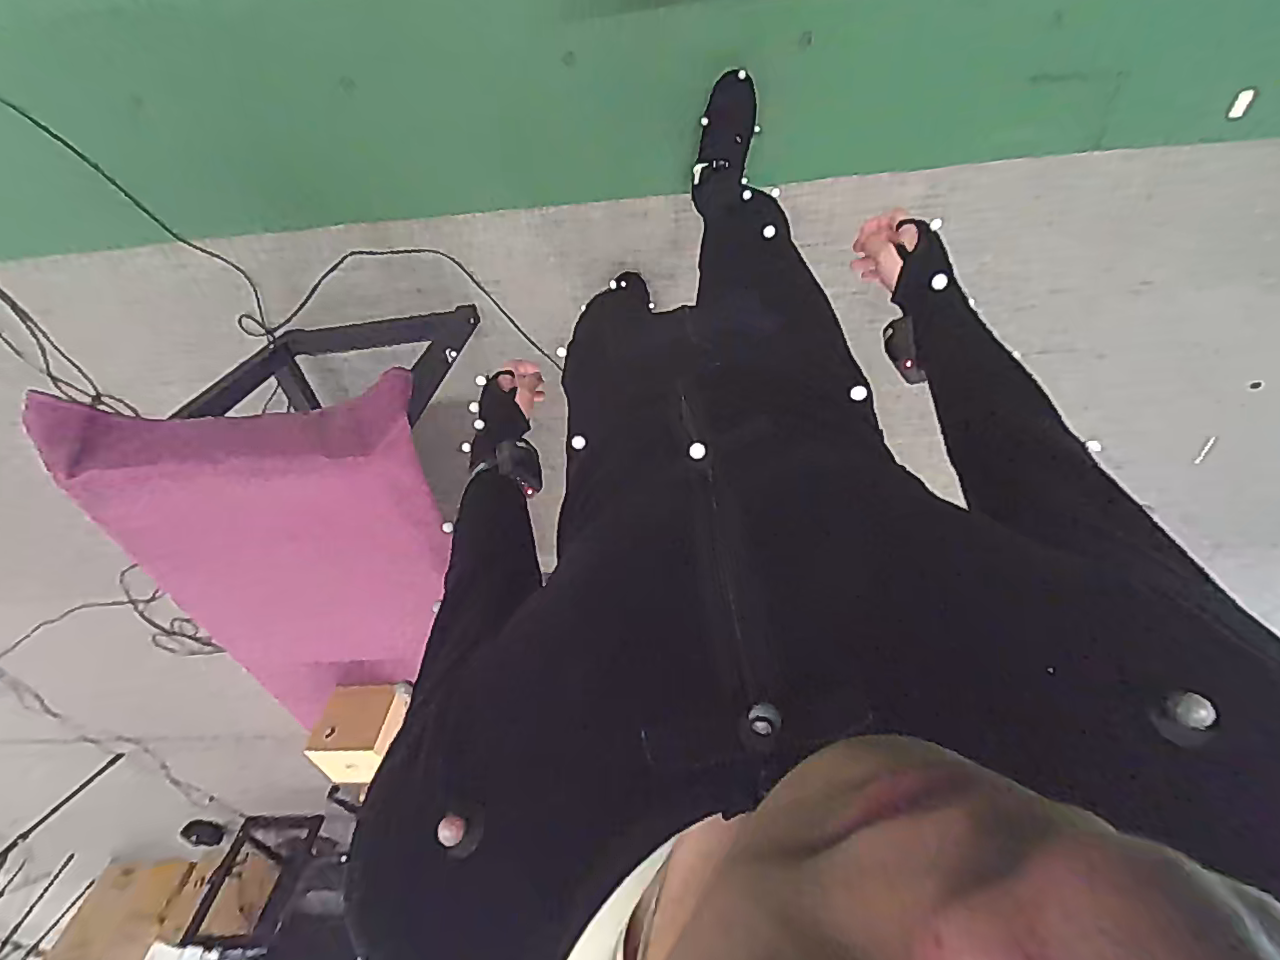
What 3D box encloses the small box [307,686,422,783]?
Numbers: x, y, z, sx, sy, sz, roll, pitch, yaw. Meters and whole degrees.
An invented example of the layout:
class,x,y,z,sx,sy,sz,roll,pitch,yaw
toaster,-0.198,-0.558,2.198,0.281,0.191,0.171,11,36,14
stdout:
class,x,y,z,sx,sy,sz,roll,pitch,yaw
small box,-0.680,0.636,1.357,0.179,0.176,0.168,-3,128,4
